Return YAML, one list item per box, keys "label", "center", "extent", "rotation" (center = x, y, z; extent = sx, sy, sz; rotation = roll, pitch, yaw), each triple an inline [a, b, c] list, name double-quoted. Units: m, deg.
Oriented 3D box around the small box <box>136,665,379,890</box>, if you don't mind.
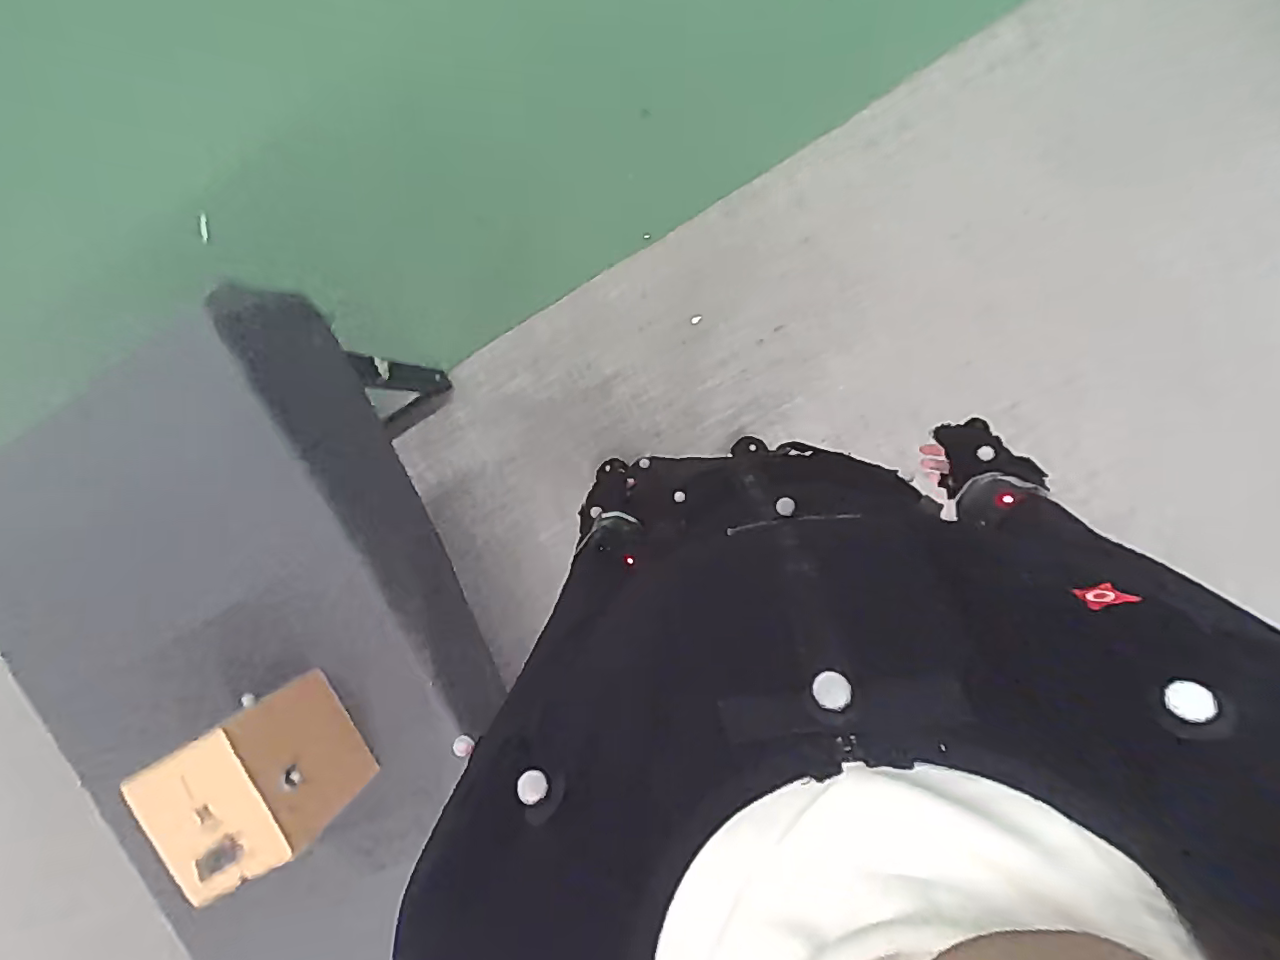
- label: "small box"
  center: [-0.497, 0.386, 0.730]
  extent: [0.168, 0.176, 0.179]
  rotation: [-30, 90, 9]
